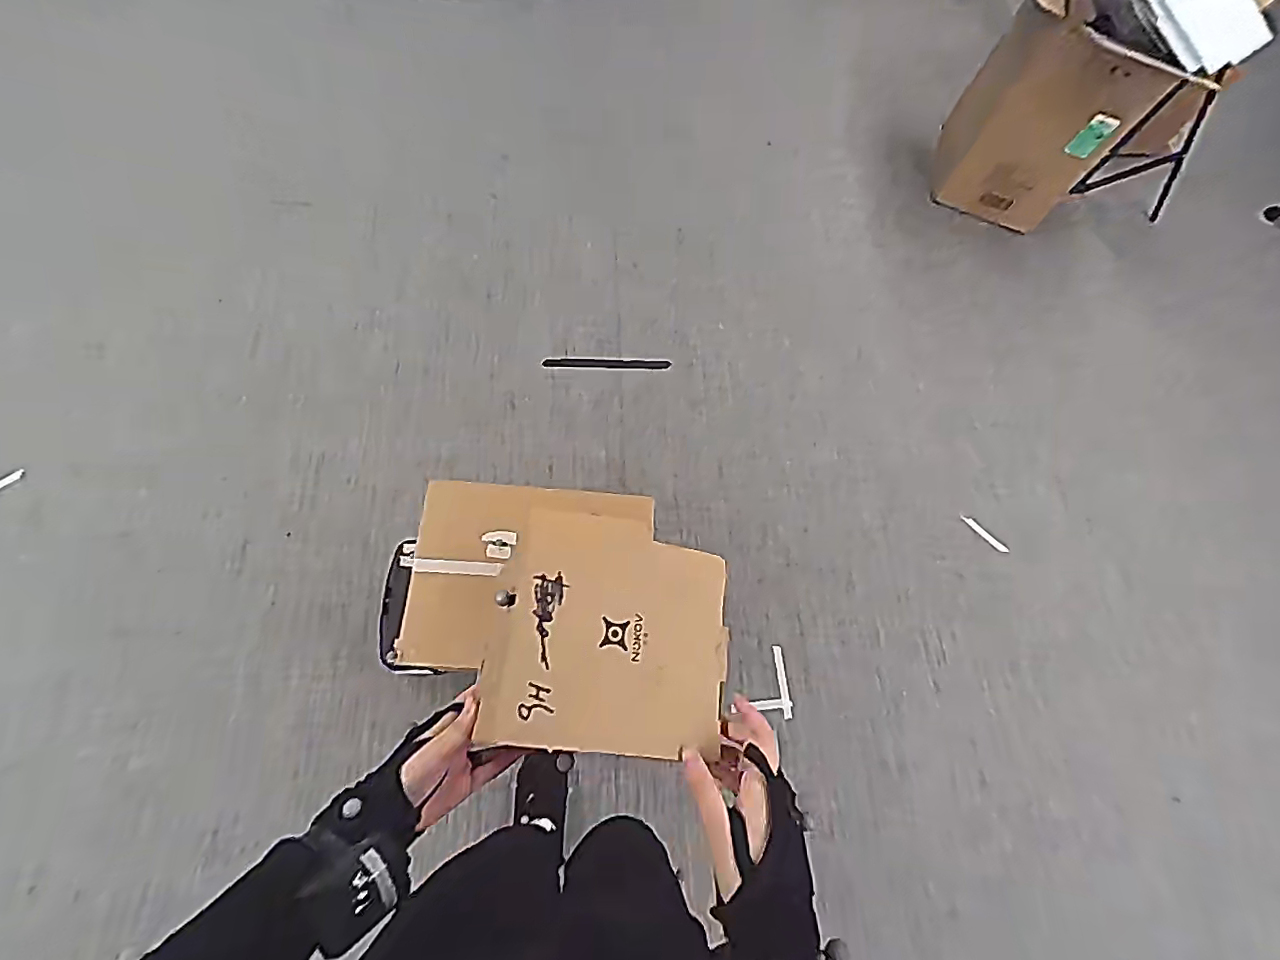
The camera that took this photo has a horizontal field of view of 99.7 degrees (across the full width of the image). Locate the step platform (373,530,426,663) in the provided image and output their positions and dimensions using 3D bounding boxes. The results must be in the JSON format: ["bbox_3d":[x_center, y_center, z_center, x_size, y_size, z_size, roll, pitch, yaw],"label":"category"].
[{"bbox_3d":[-0.239,0.301,1.262,0.684,0.204,0.286,6,68,-4],"label":"step platform"}]

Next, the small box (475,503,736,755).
[{"bbox_3d":[-0.034,0.142,0.483,0.179,0.176,0.168,15,61,-17],"label":"small box"}]

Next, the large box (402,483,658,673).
[{"bbox_3d":[-0.183,0.212,1.046,0.408,0.320,0.320,4,67,-5],"label":"large box"}]
